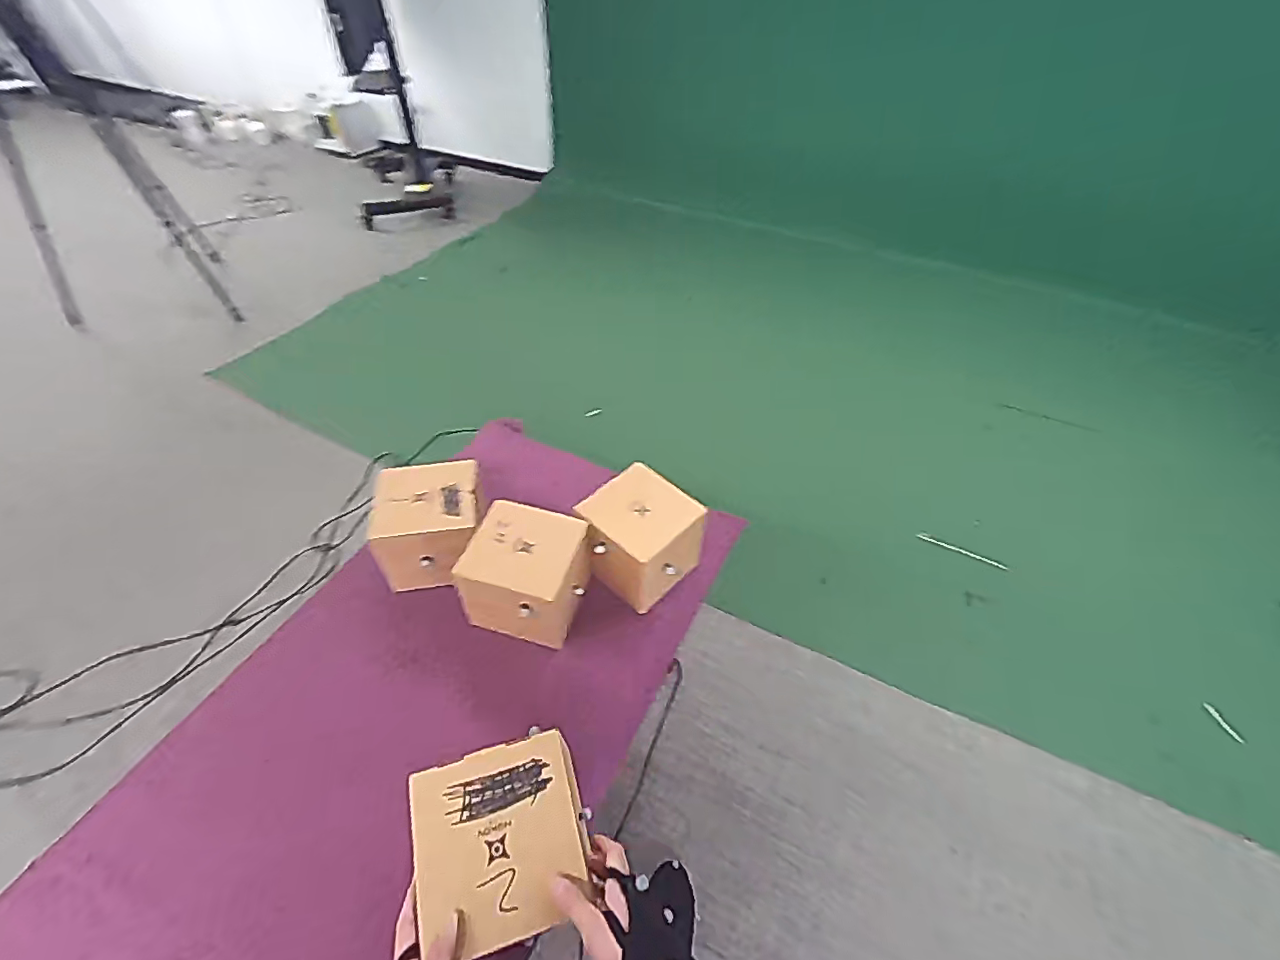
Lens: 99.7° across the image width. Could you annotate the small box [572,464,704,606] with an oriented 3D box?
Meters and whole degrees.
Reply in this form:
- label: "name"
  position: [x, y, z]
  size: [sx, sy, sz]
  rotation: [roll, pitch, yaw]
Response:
- label: "small box"
  position: [-0.003, 0.108, 1.006]
  size: [0.179, 0.176, 0.168]
  rotation: [35, 56, 29]
